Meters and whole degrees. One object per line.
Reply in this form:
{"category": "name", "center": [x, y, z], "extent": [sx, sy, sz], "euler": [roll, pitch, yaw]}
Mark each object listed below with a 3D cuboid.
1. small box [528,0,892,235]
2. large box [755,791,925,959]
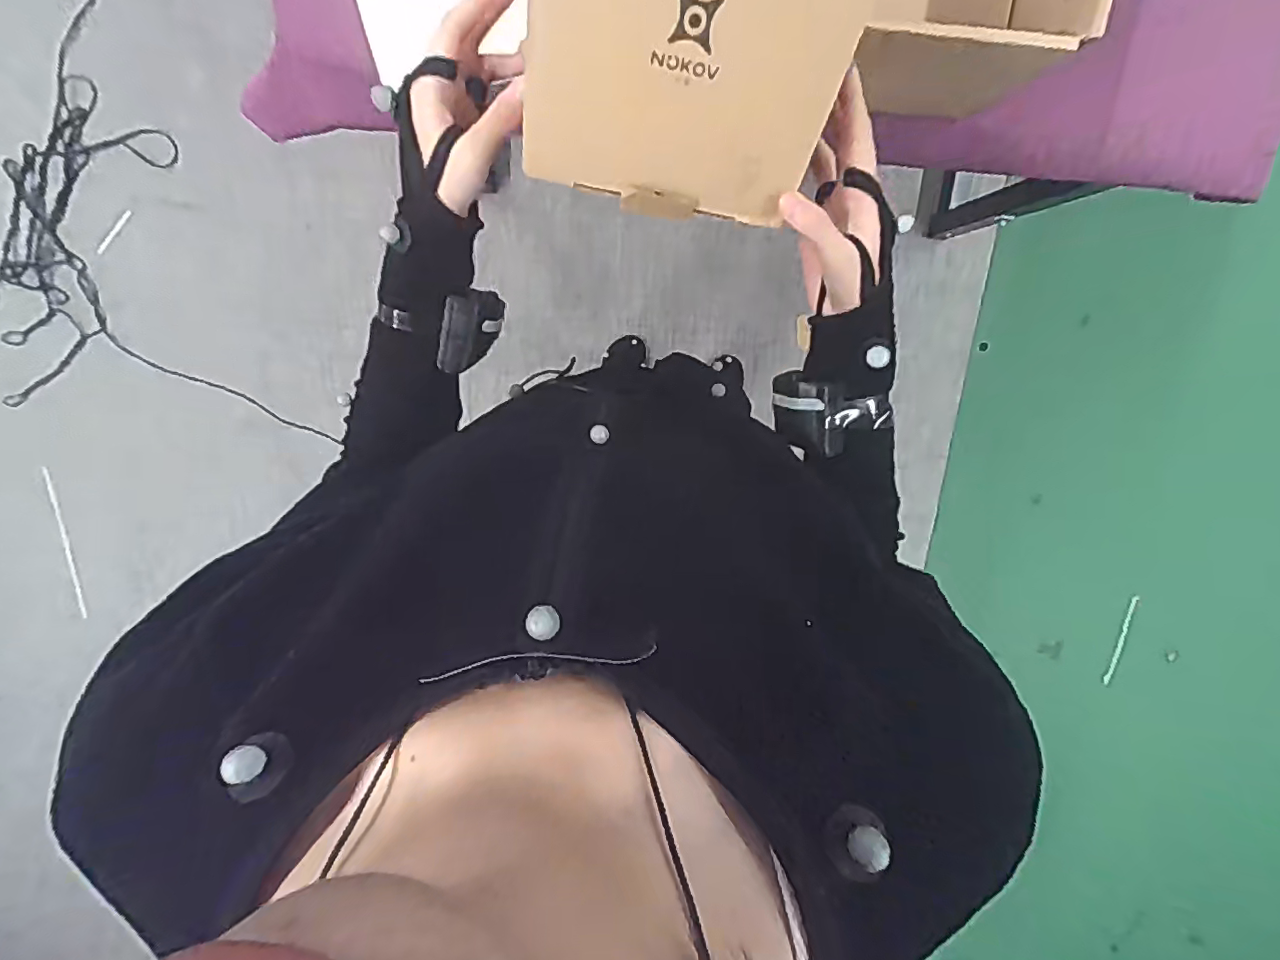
{"category": "small box", "center": [0.034, -0.282, 0.316], "extent": [0.168, 0.176, 0.179], "euler": [8, 139, -9]}
{"category": "large box", "center": [0.613, 1.255, 1.706], "extent": [0.408, 0.320, 0.320], "euler": [-11, 105, 1]}
